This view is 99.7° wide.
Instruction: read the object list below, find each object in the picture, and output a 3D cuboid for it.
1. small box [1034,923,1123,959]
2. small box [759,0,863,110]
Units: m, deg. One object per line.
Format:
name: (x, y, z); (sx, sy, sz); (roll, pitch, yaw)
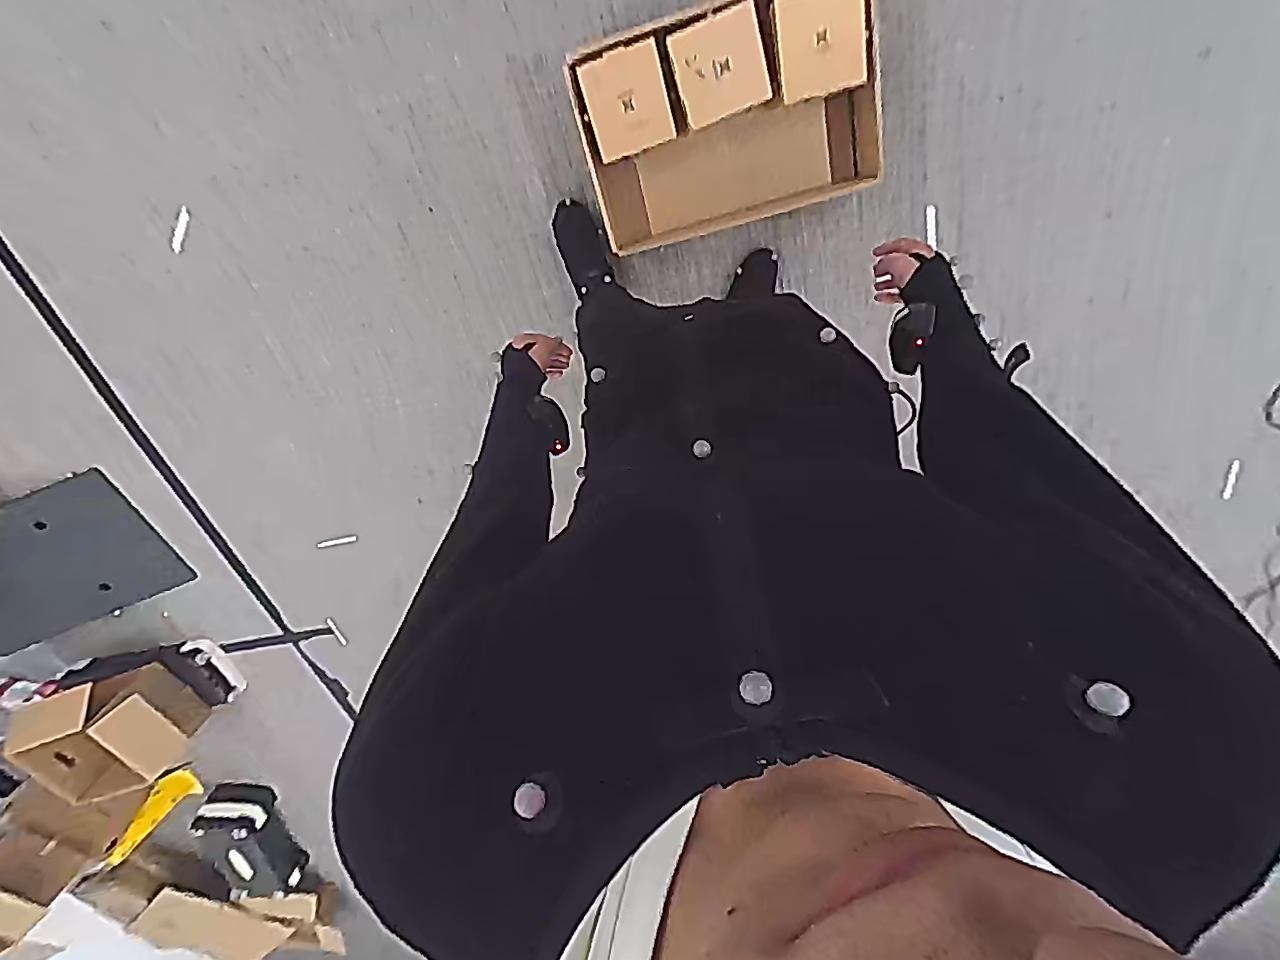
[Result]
small box: (1.288, 1.414, 1.559); (0.179, 0.176, 0.168); (-11, 117, 8)
small box: (0.346, -0.888, 1.111); (0.168, 0.176, 0.179); (-11, 121, 9)
